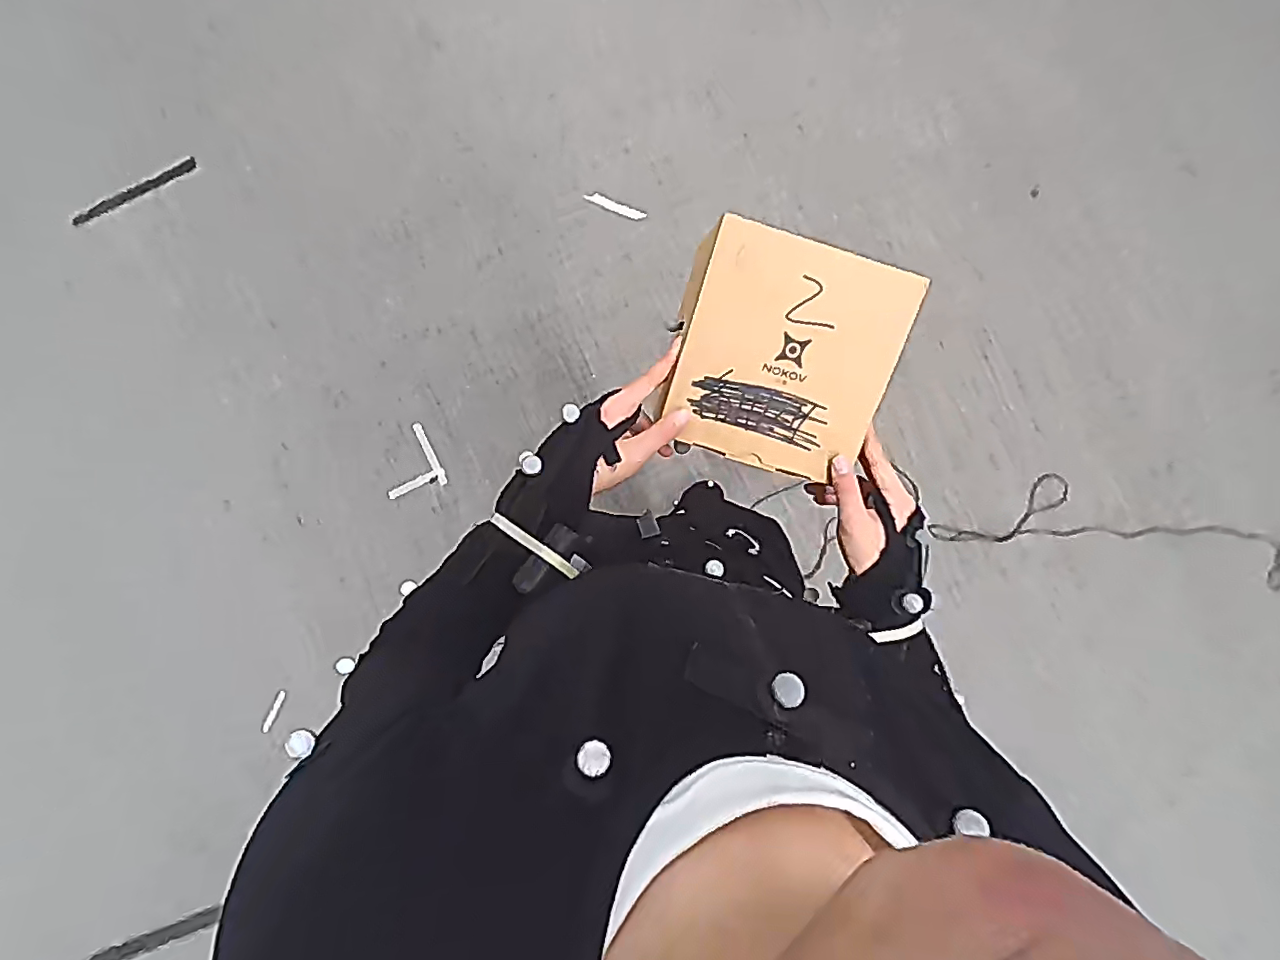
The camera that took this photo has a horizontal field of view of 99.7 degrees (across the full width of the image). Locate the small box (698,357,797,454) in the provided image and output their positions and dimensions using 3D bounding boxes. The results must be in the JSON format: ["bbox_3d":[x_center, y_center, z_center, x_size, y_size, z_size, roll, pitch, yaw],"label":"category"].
[{"bbox_3d":[0.246,-0.169,1.288,0.179,0.176,0.168,-24,90,2],"label":"small box"}]
